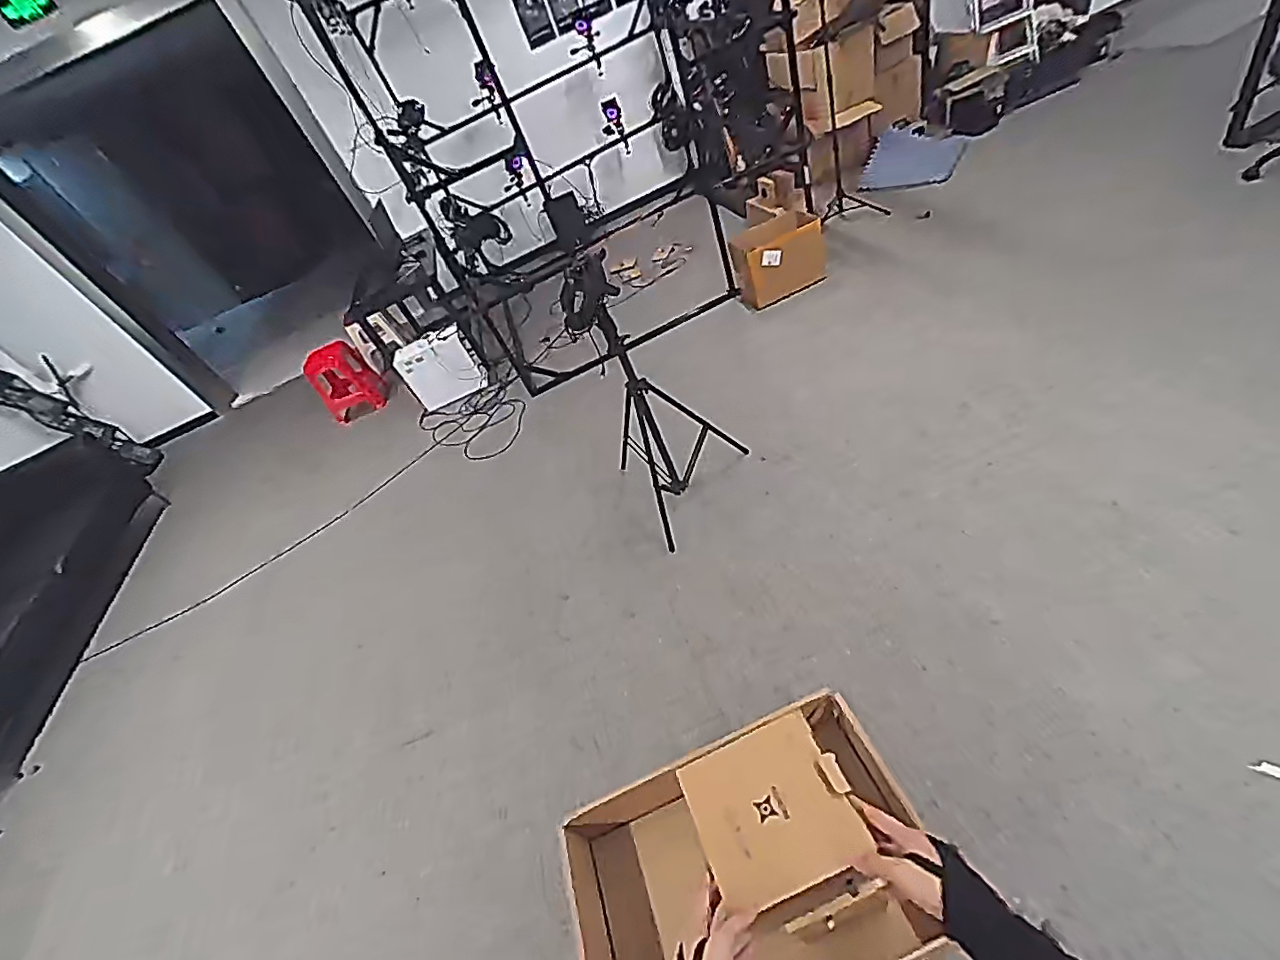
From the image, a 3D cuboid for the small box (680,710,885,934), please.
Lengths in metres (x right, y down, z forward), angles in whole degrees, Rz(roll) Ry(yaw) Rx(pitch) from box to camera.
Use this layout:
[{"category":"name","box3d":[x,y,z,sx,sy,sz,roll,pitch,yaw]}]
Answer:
[{"category":"small box","box3d":[0.174,0.421,0.665,0.179,0.176,0.168,-26,43,0]}]
